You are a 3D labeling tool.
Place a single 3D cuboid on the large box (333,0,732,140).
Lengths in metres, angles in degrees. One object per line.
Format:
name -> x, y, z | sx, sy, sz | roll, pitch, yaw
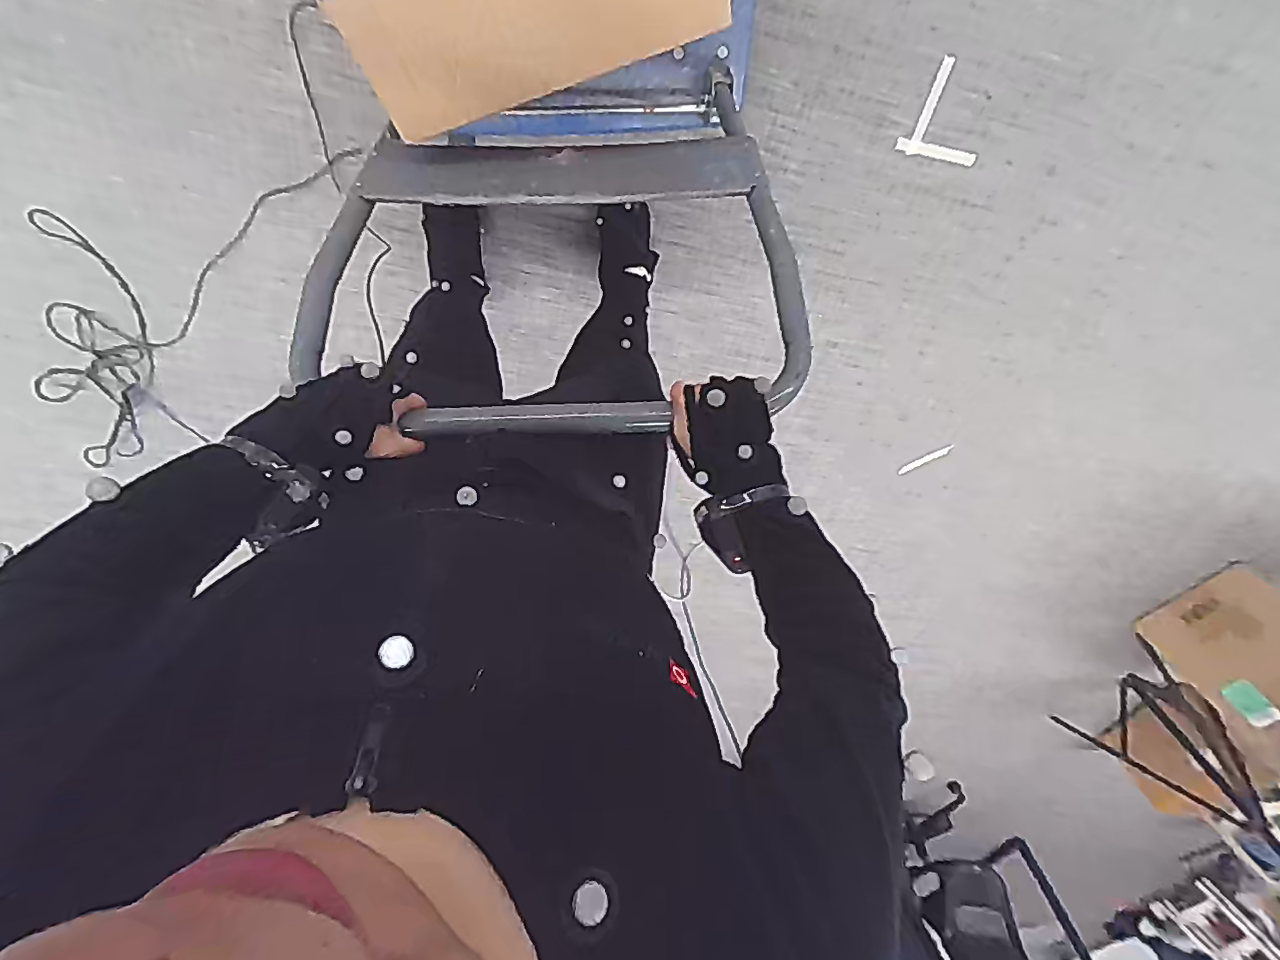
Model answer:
large box -> -0.142, -0.661, 0.602 | 0.408, 0.320, 0.320 | -13, 141, 10
